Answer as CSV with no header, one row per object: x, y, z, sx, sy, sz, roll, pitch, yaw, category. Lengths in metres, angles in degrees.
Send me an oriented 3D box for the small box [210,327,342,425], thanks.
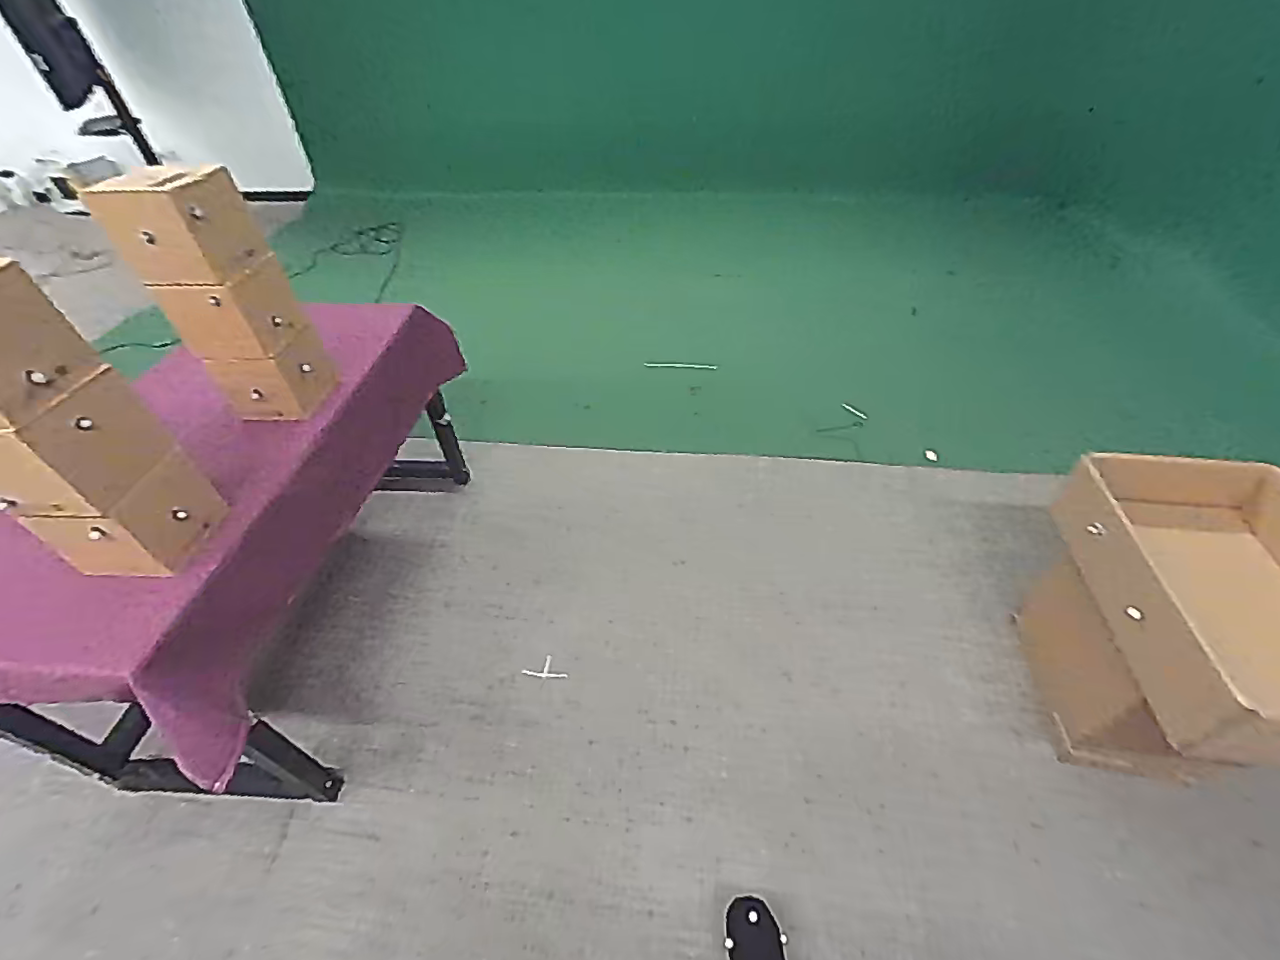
-0.848,-0.244,1.285,0.168,0.176,0.179,0,45,4,small box

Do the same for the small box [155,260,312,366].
-0.864,-0.359,1.170,0.179,0.176,0.168,2,44,5,small box

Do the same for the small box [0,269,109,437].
-0.915,-0.170,0.738,0.179,0.176,0.168,0,44,3,small box

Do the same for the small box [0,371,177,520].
-0.897,-0.052,0.850,0.168,0.176,0.179,1,43,5,small box

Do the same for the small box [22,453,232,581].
-0.890,0.066,0.964,0.179,0.176,0.168,1,43,5,small box
